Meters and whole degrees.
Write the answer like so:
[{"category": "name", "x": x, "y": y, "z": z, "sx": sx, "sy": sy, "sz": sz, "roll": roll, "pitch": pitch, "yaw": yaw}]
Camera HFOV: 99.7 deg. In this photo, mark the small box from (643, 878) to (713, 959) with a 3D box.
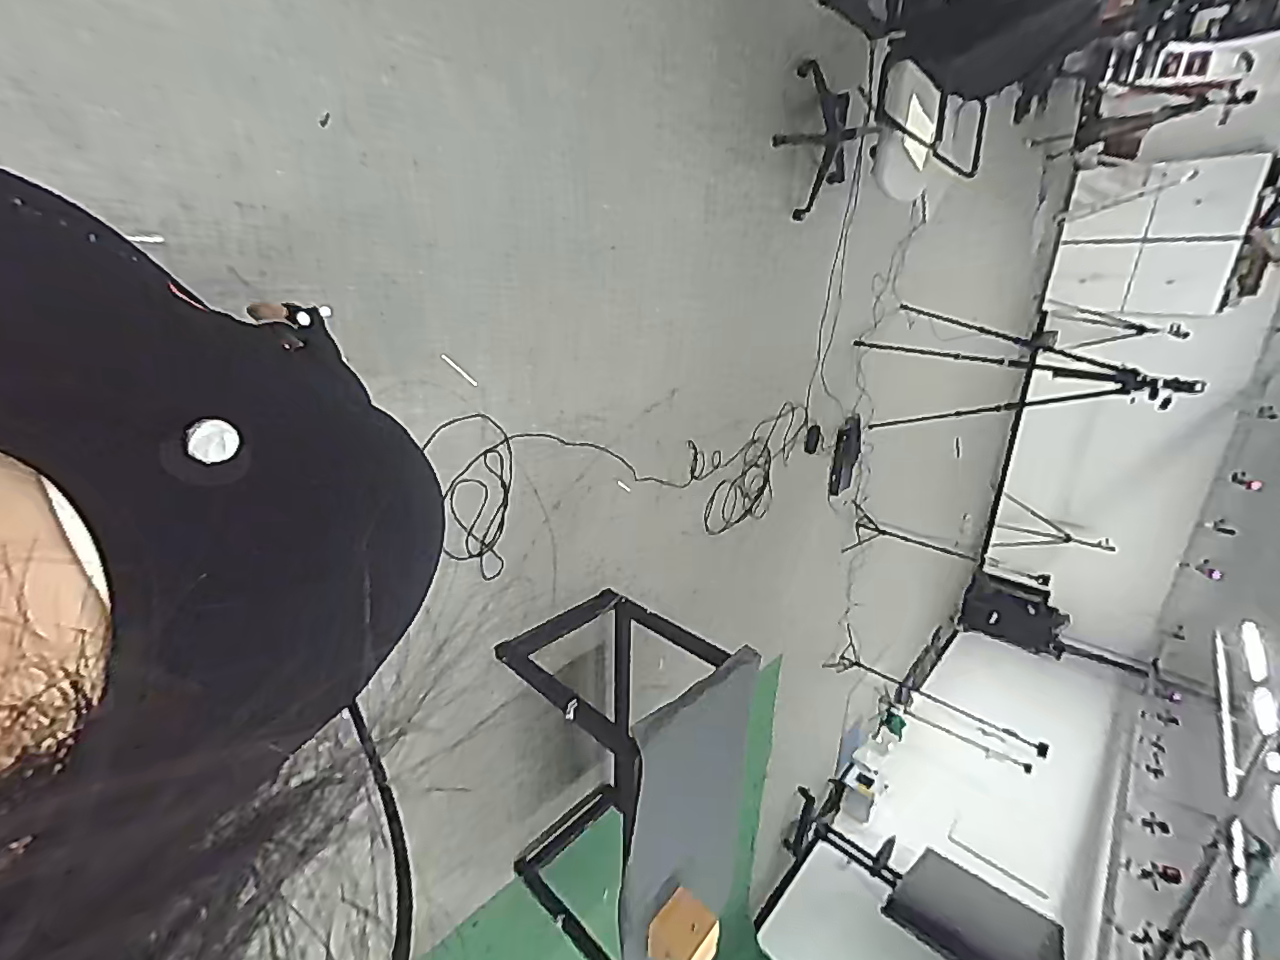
[{"category": "small box", "x": 0.125, "y": 1.520, "z": 1.833, "sx": 0.179, "sy": 0.176, "sz": 0.168, "roll": -20, "pitch": 119, "yaw": -45}]
